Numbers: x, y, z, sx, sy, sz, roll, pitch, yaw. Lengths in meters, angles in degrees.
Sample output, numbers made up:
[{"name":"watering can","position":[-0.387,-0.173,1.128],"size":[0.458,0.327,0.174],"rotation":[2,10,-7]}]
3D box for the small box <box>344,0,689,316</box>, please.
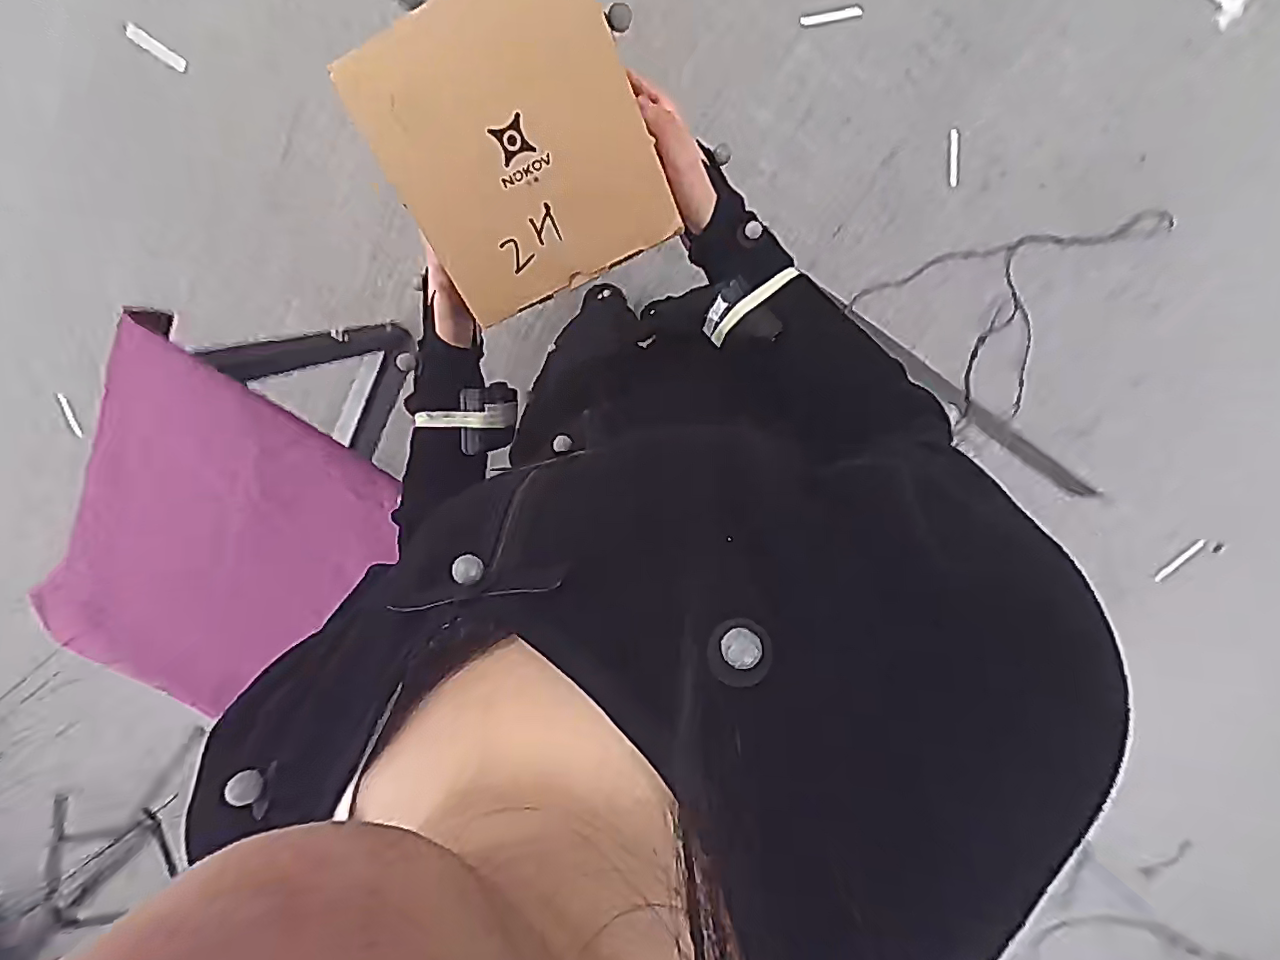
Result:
[{"name":"small box","position":[-0.074,-0.255,0.418],"size":[0.168,0.176,0.179],"rotation":[-20,119,10]}]
